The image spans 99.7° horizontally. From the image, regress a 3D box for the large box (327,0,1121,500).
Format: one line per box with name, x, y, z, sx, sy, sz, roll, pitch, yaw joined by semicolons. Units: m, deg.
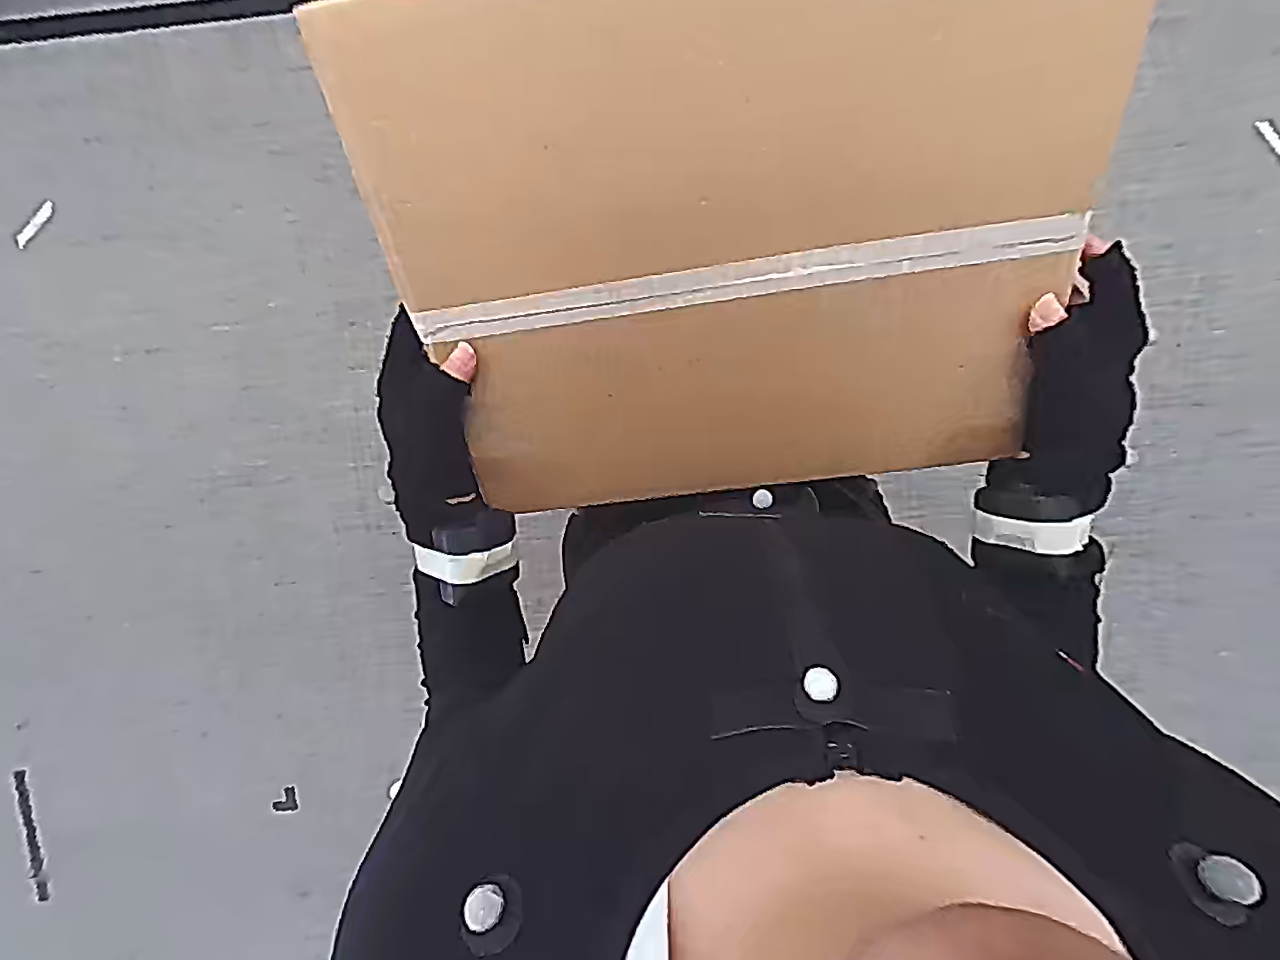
large box;0.054;-0.216;0.462;0.408;0.320;0.320;-7;125;4
